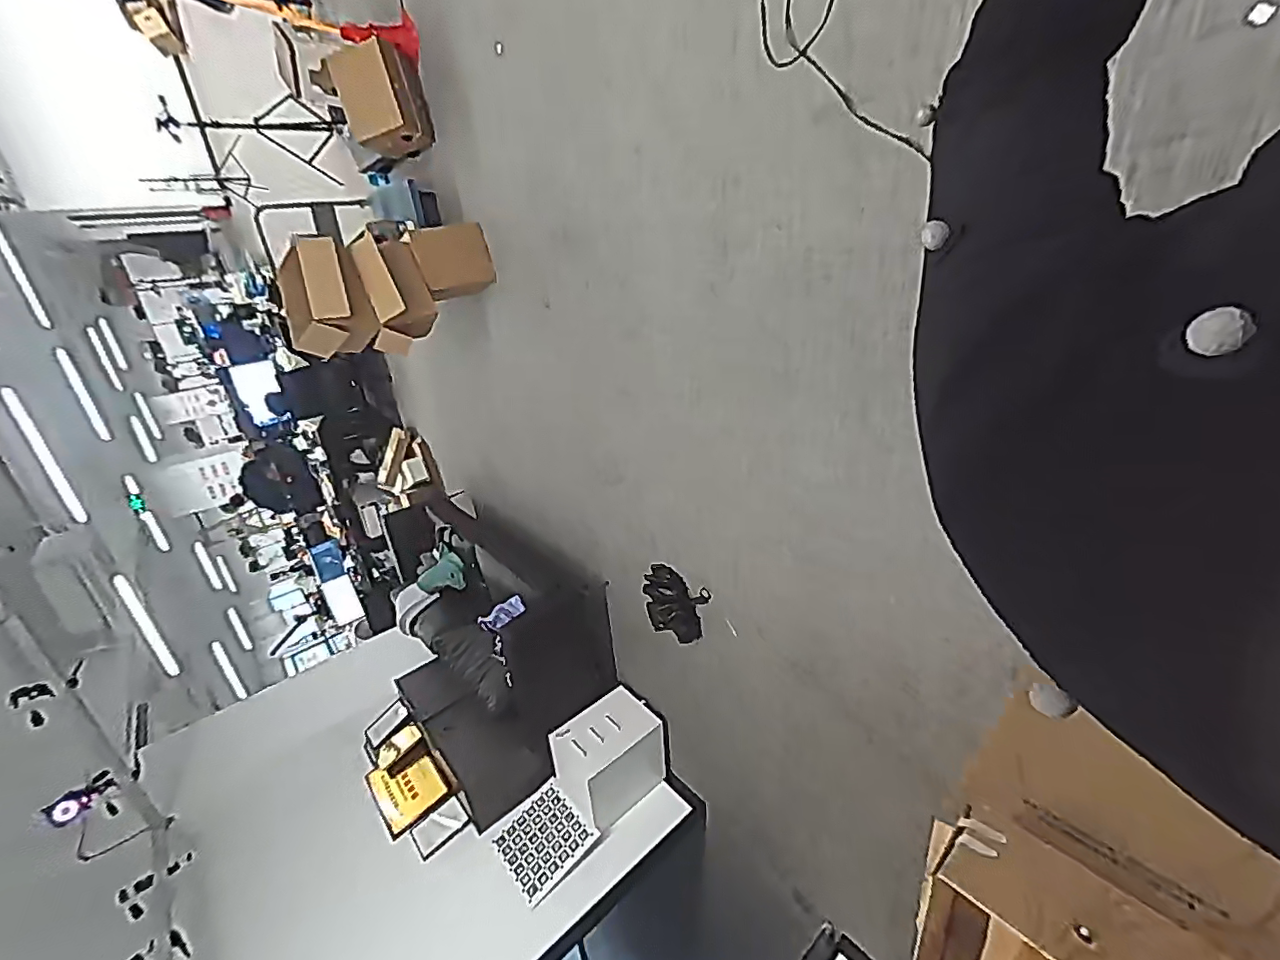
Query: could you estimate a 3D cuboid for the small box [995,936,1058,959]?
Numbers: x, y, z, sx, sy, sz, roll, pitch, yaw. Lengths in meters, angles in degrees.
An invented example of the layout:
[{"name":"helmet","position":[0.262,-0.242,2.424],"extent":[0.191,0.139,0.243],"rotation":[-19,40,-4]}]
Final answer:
[{"name":"small box","position":[0.691,0.943,0.928],"extent":[0.179,0.176,0.168],"rotation":[22,129,47]}]
